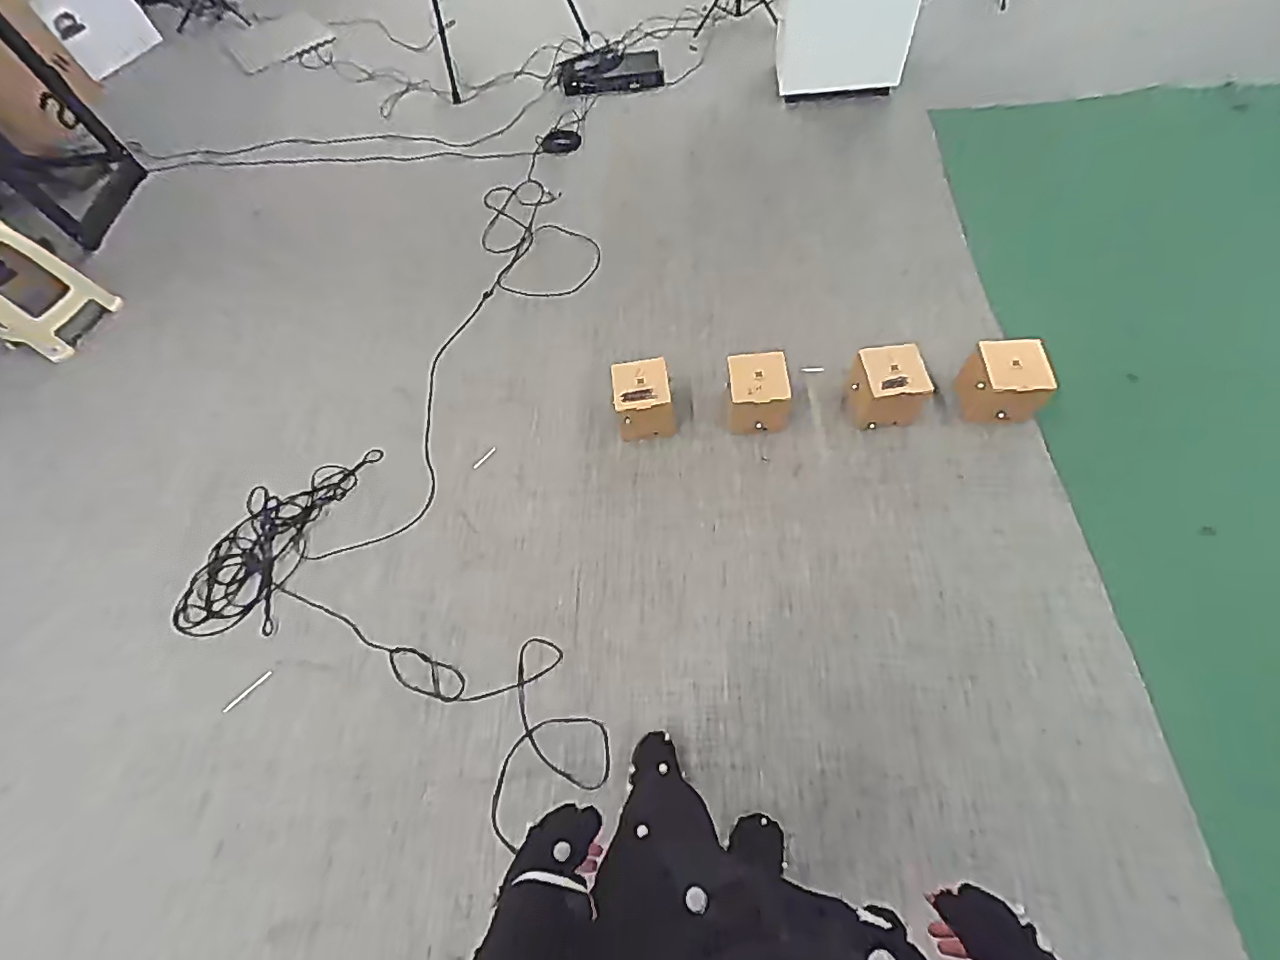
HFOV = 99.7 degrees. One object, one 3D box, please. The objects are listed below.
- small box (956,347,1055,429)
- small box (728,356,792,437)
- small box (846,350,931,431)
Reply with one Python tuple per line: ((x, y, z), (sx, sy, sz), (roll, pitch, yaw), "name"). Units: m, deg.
((1.052, -0.266, 1.577), (0.168, 0.176, 0.179), (-1, 62, 7), "small box")
((0.356, -0.249, 1.639), (0.168, 0.176, 0.179), (-4, 62, 6), "small box")
((0.730, -0.259, 1.606), (0.168, 0.176, 0.179), (-5, 61, 3), "small box")
